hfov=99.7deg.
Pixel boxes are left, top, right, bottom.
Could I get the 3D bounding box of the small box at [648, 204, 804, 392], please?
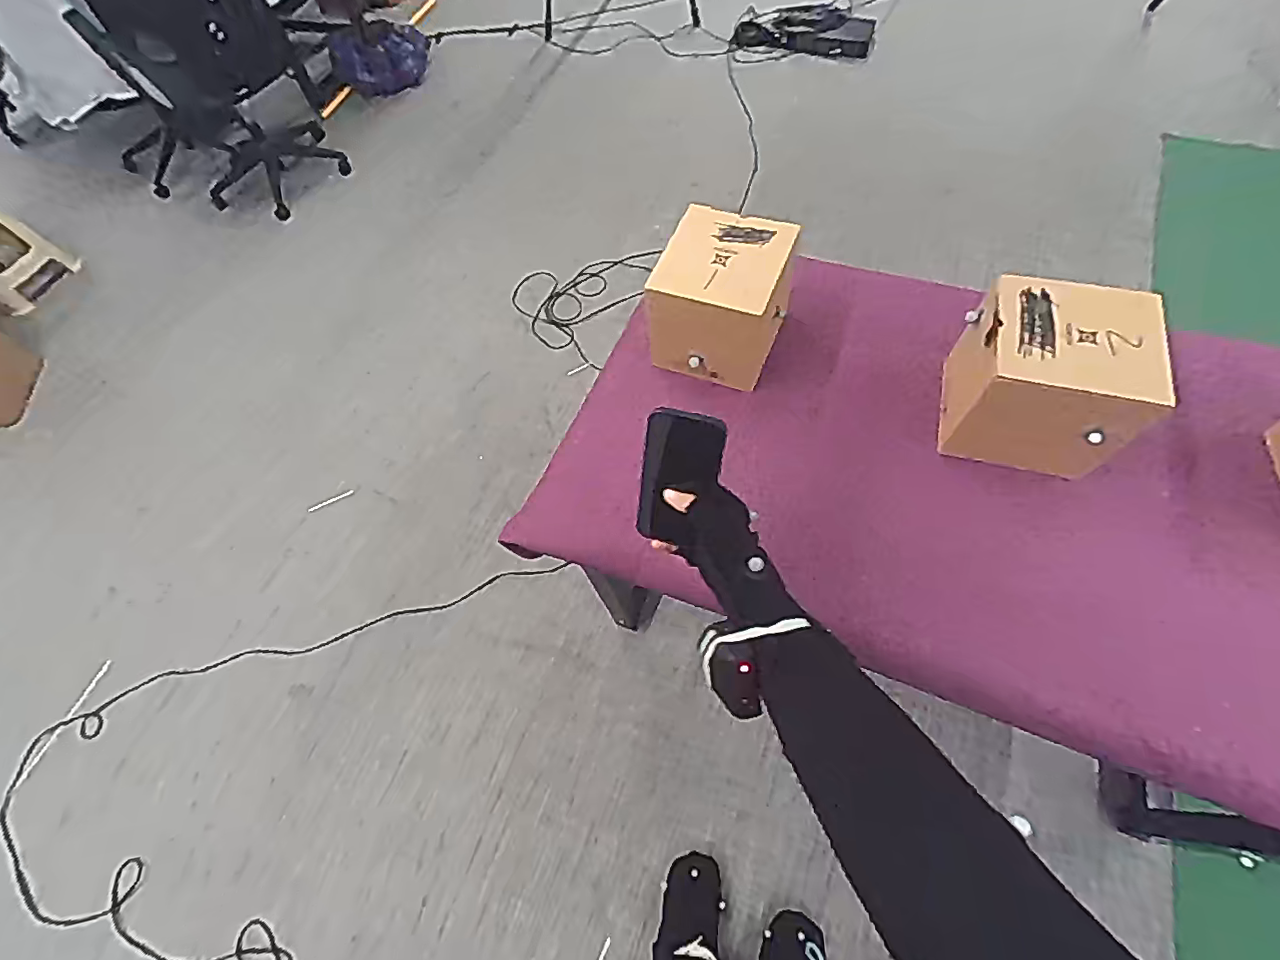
[{"bbox_3d":[0.124,-0.264,0.798,0.168,0.176,0.179,20,68,16],"label":"small box"}]
